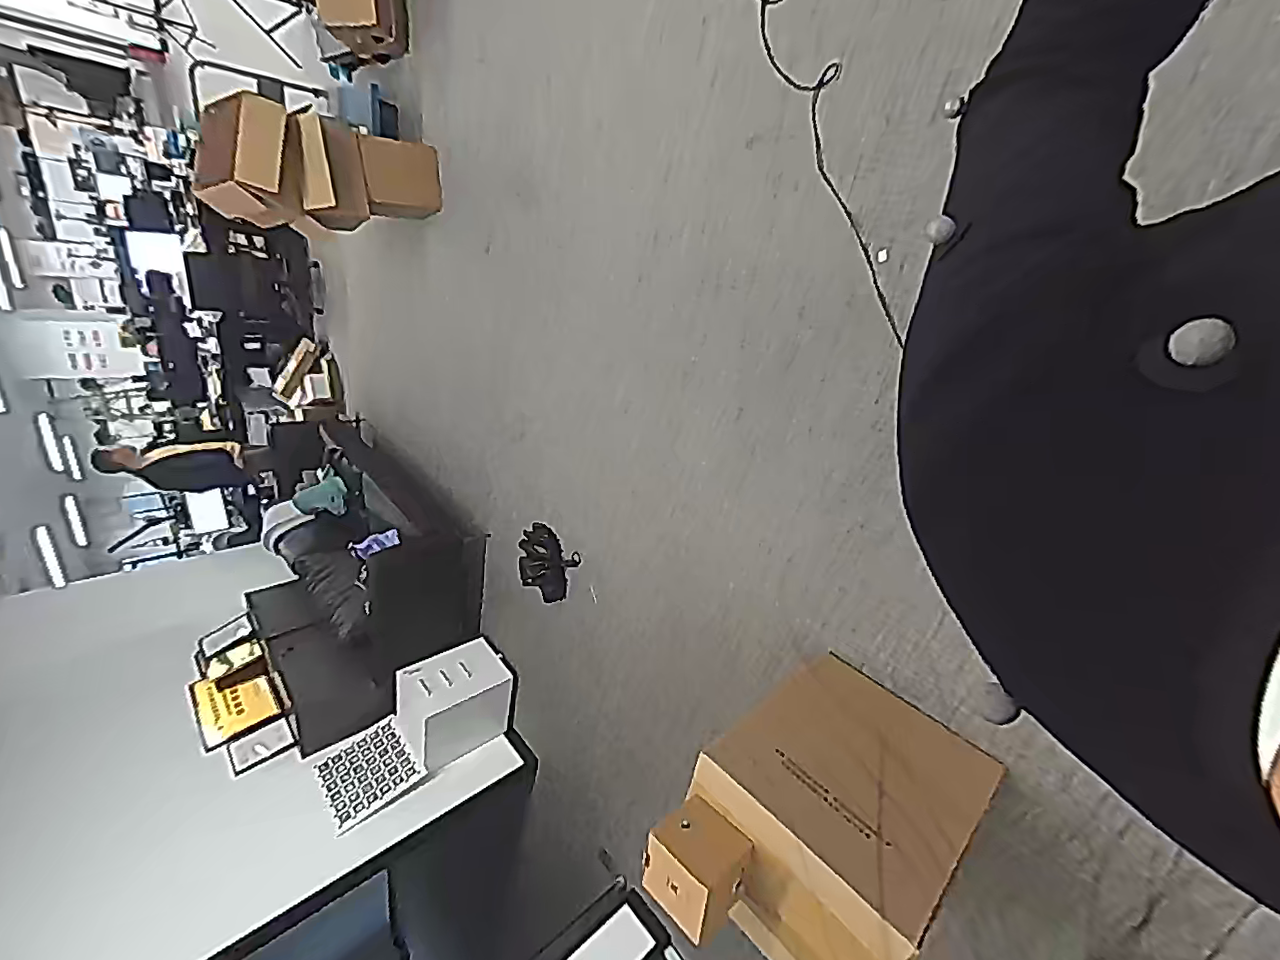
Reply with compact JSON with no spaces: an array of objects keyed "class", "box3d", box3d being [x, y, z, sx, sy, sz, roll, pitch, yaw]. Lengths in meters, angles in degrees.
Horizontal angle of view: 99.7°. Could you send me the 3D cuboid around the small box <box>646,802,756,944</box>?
[{"class":"small box","box3d":[0.139,0.885,1.245,0.179,0.176,0.168,21,112,42]}]
